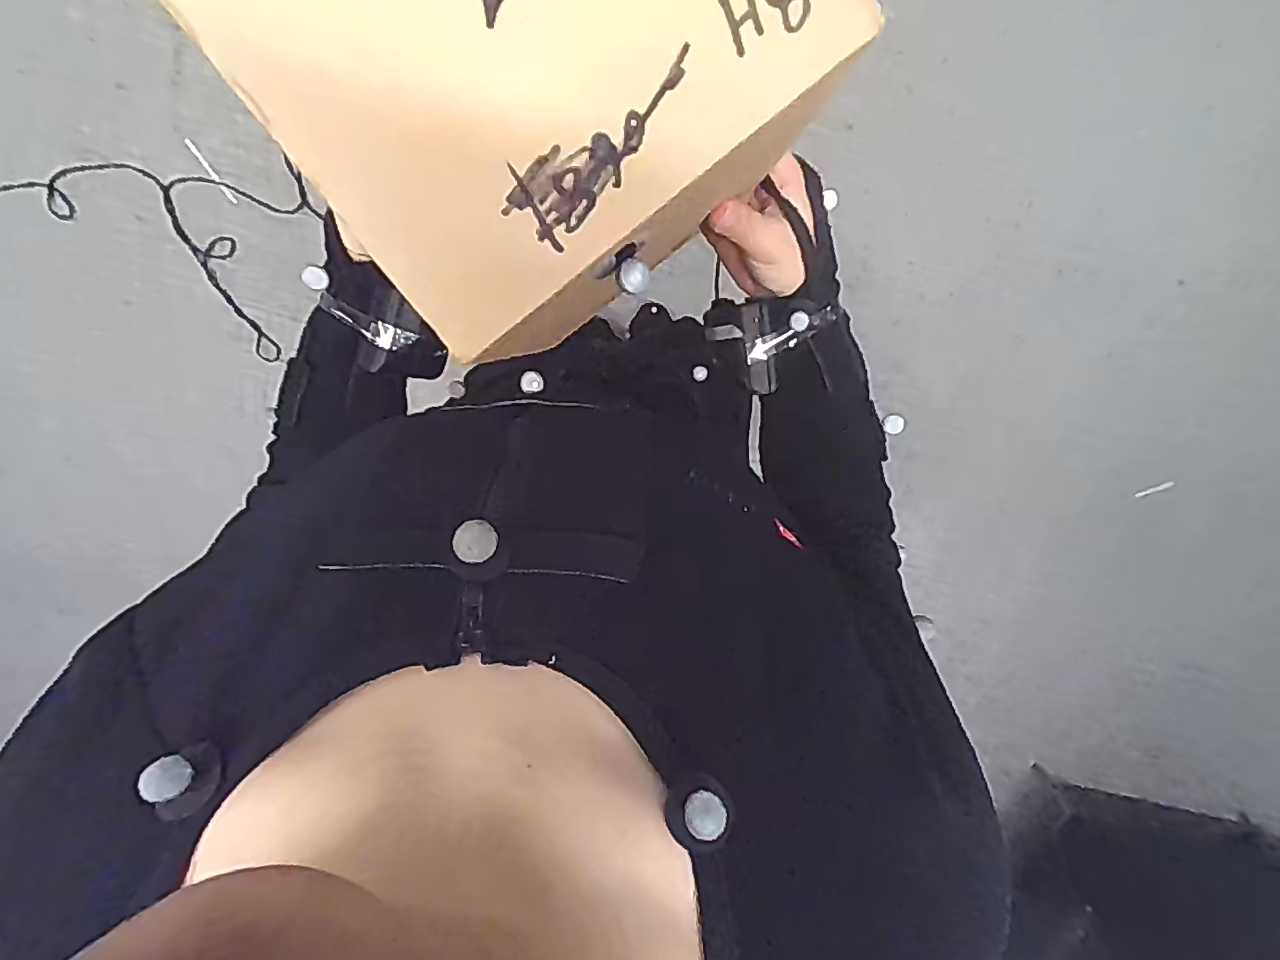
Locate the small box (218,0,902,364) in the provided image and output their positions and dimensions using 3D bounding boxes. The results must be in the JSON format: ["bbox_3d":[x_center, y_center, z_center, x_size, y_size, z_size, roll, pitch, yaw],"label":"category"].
[{"bbox_3d":[-0.033,-0.170,0.241,0.168,0.176,0.179,-36,102,9],"label":"small box"}]
